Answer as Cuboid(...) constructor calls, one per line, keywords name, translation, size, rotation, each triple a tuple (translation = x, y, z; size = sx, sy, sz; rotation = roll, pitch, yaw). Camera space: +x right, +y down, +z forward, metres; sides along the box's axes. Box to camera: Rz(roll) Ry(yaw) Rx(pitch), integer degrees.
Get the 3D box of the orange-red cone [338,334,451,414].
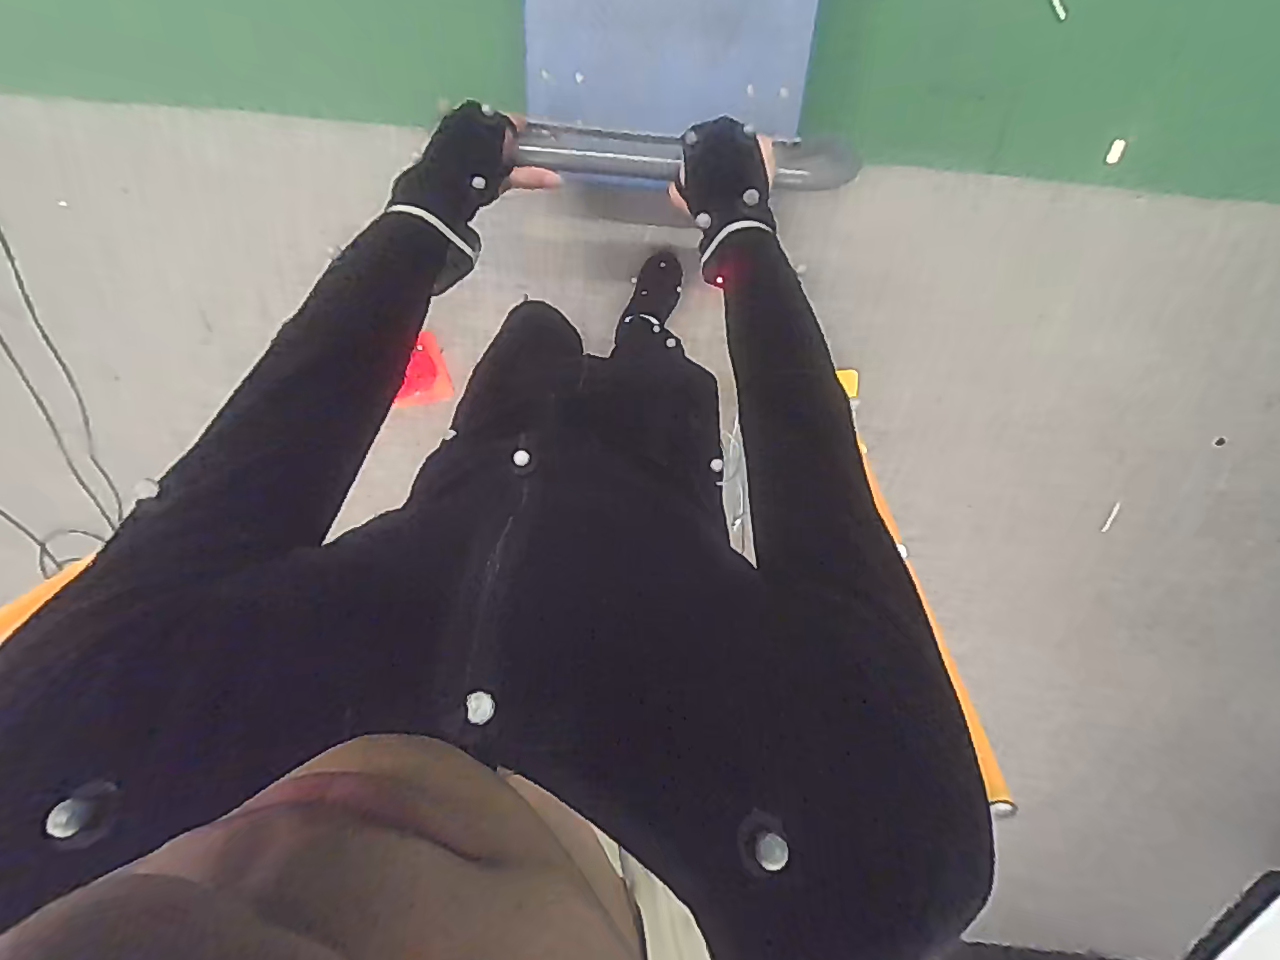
Cuboid(name="orange-red cone", translation=(-0.671, -0.241, 1.408), size=(0.199, 0.360, 0.198), rotation=(-7, 114, 8))
